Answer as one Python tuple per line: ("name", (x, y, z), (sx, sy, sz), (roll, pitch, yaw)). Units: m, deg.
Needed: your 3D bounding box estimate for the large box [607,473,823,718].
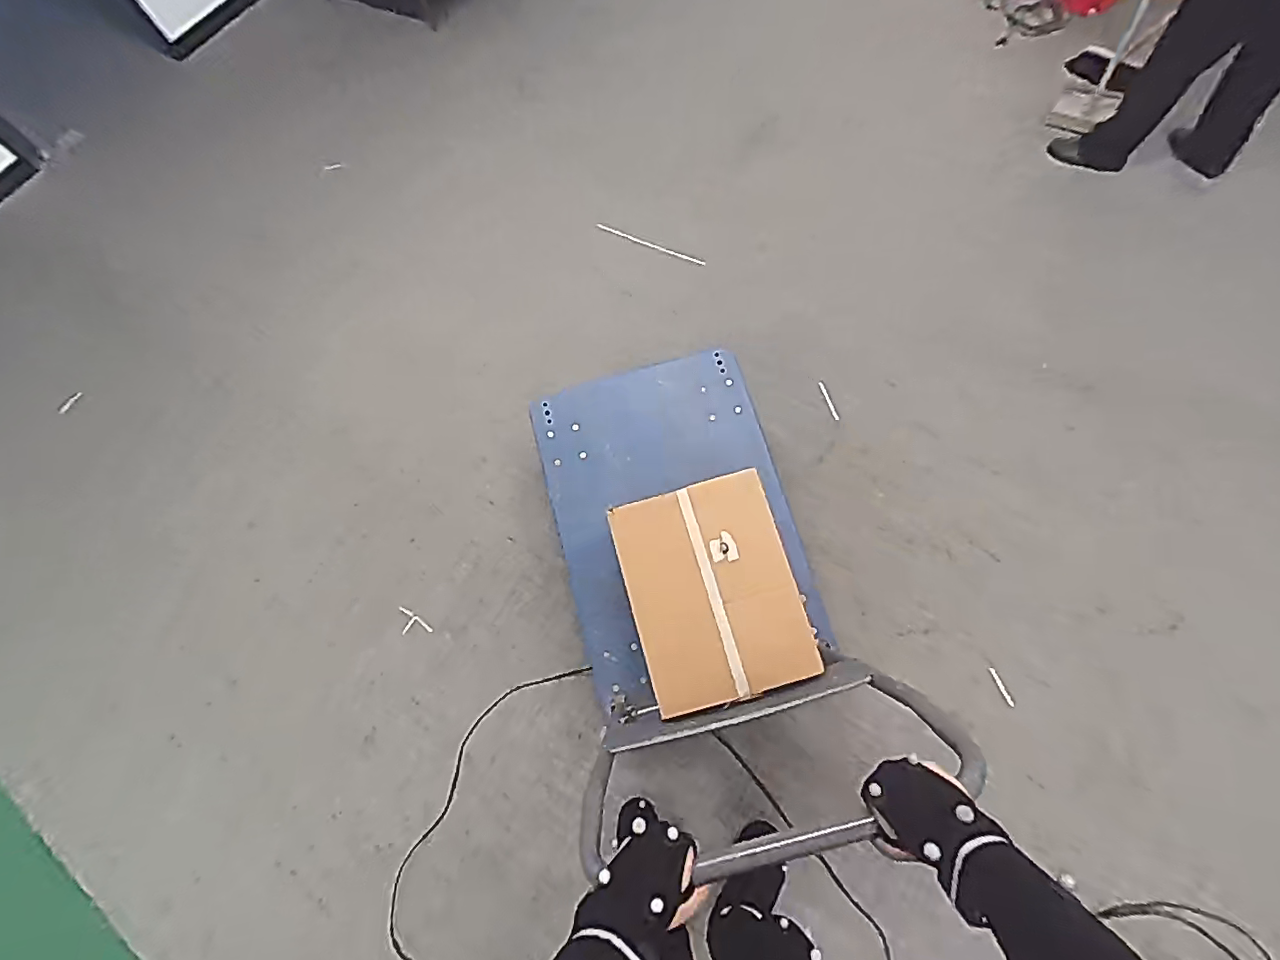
("large box", (0.148, 0.246, 1.177), (0.320, 0.320, 0.408), (-16, 75, 0))
